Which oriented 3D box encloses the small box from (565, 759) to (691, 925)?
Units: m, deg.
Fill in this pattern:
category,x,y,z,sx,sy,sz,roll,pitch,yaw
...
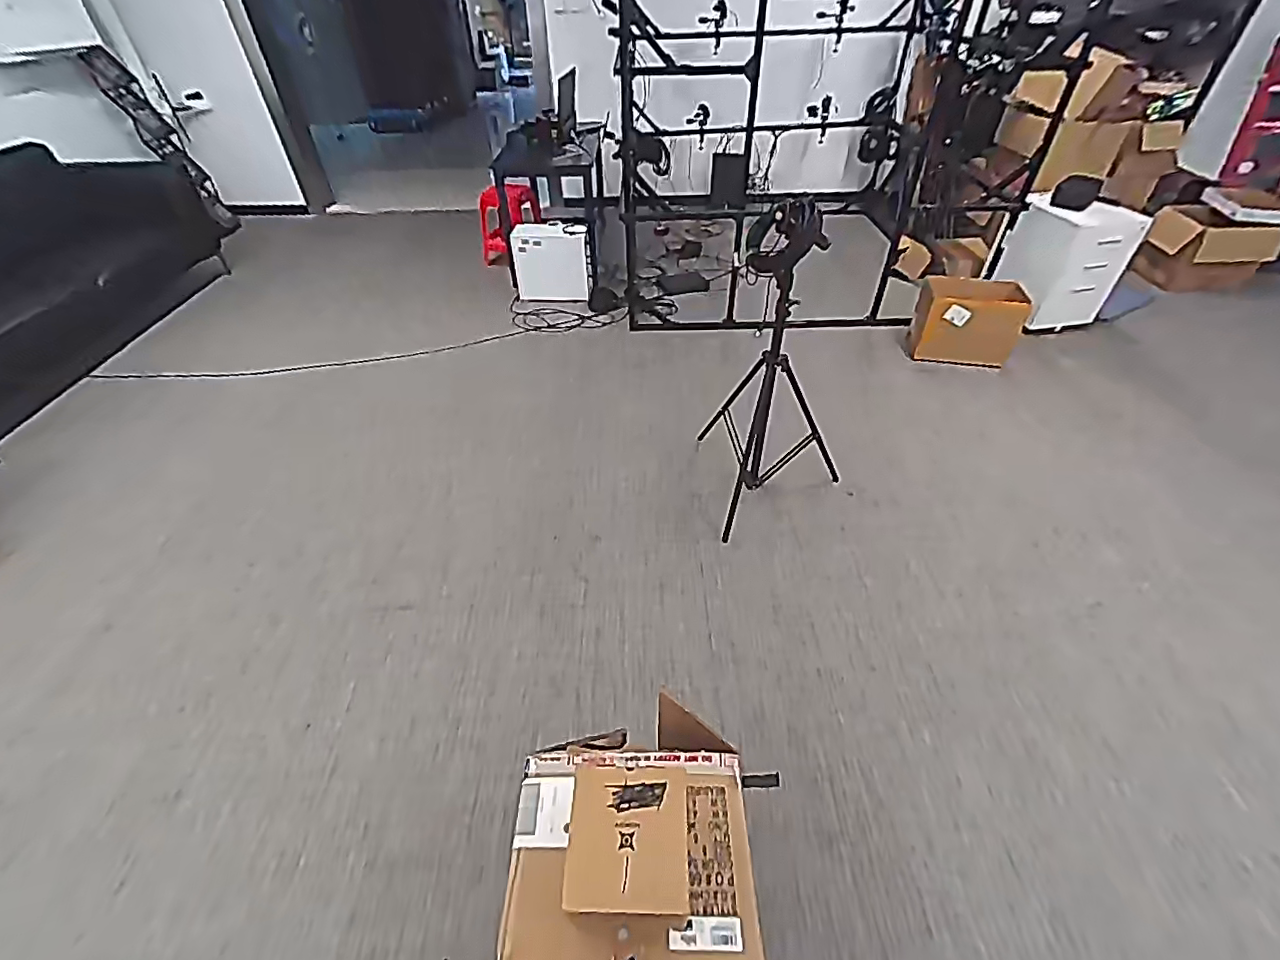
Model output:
category,x,y,z,sx,sy,sz,roll,pitch,yaw
small box,-0.013,0.540,0.808,0.168,0.176,0.179,0,46,2
